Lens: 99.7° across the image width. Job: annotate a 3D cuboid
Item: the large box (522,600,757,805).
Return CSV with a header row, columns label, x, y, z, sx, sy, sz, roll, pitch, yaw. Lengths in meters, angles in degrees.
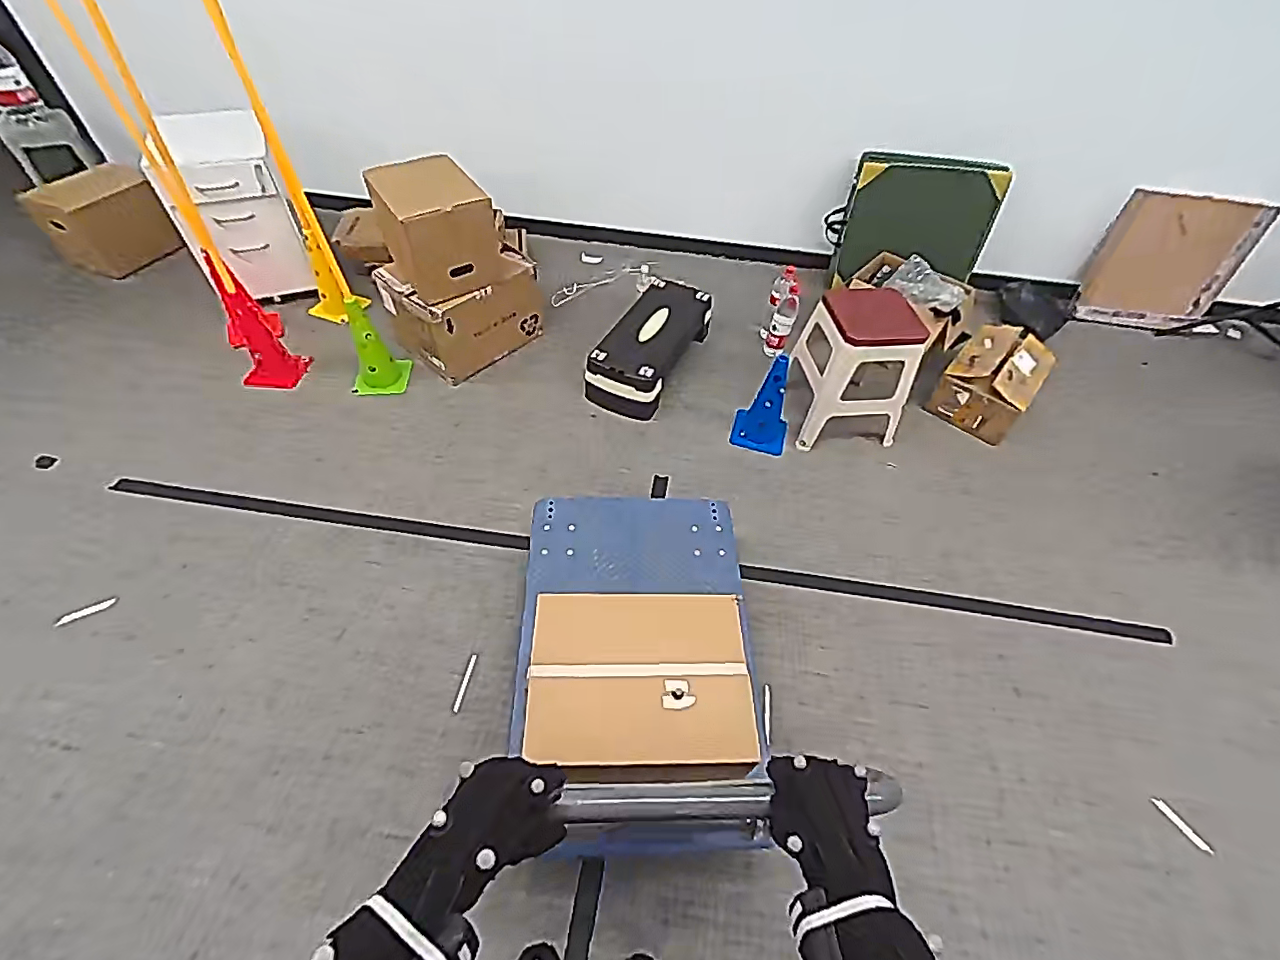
label,x,y,z,sx,sy,sz,roll,pitch,yaw
large box,-0.016,0.456,1.104,0.408,0.320,0.320,2,51,-4
